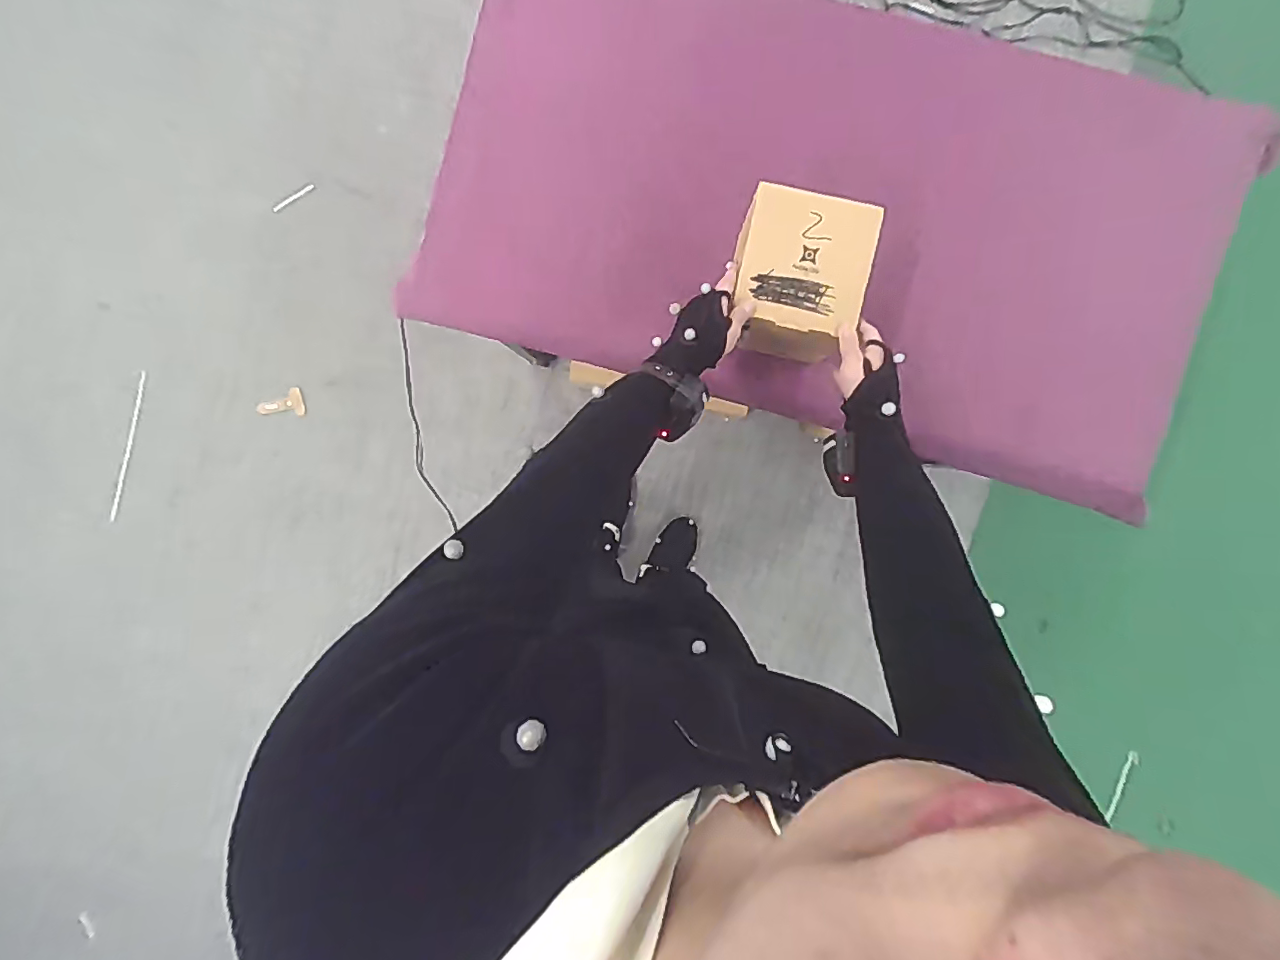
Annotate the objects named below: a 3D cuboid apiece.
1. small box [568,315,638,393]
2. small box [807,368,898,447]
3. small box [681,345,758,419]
[{"bbox_3d":[-0.096,-0.341,1.493,0.168,0.176,0.179,7,93,1],"label":"small box"},{"bbox_3d":[0.574,-0.192,1.483,0.168,0.176,0.179,13,92,0],"label":"small box"},{"bbox_3d":[0.212,-0.262,1.490,0.179,0.176,0.168,9,92,2],"label":"small box"}]
